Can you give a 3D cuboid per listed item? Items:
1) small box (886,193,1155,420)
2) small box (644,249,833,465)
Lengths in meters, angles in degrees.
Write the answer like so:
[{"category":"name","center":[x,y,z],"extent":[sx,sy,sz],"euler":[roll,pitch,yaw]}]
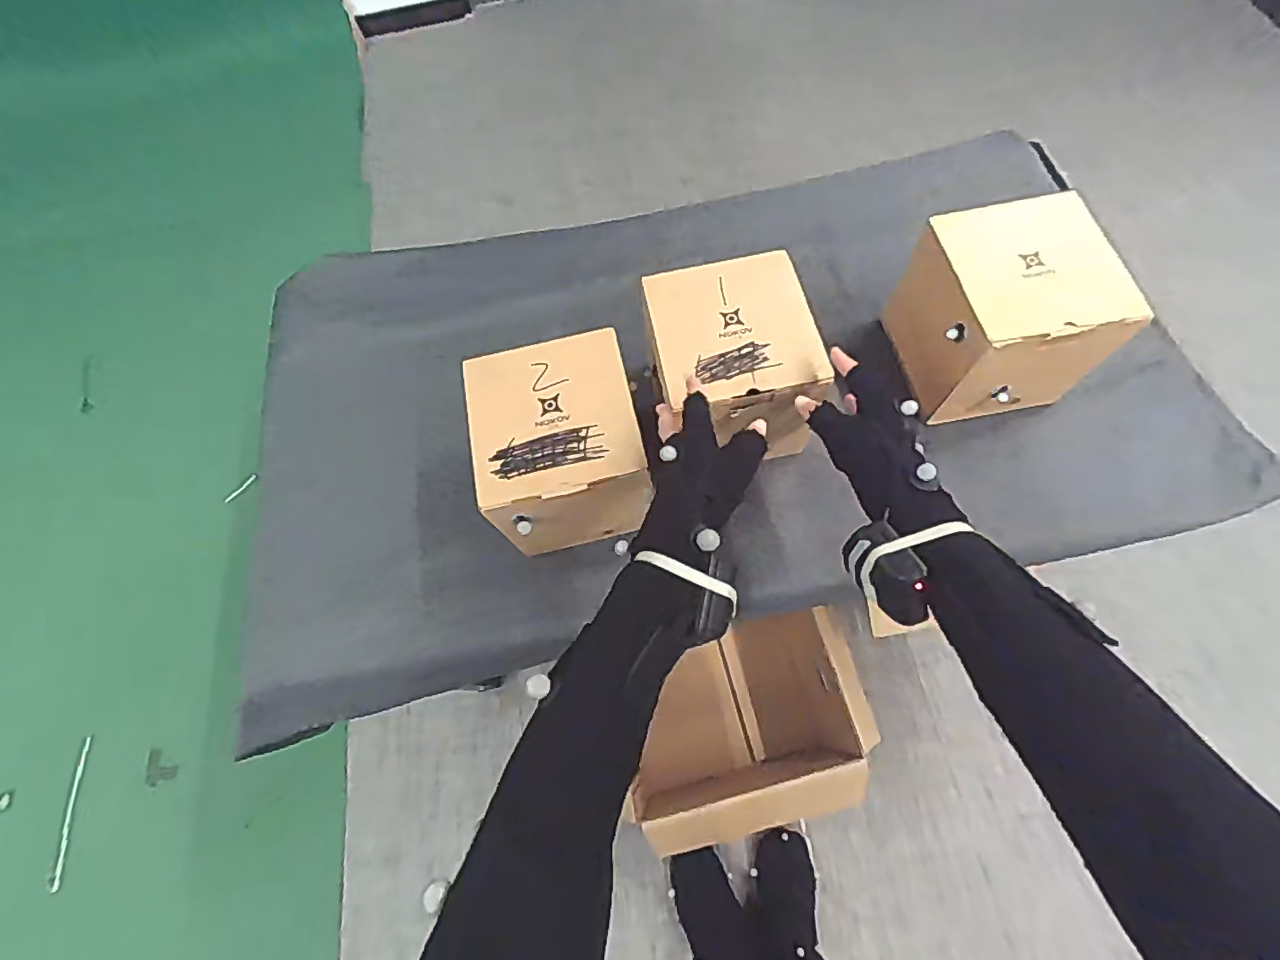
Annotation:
[{"category":"small box","center":[0.417,-0.194,0.634],"extent":[0.168,0.176,0.179],"euler":[-10,68,1]},{"category":"small box","center":[0.104,-0.130,0.632],"extent":[0.168,0.176,0.179],"euler":[-10,67,0]}]
